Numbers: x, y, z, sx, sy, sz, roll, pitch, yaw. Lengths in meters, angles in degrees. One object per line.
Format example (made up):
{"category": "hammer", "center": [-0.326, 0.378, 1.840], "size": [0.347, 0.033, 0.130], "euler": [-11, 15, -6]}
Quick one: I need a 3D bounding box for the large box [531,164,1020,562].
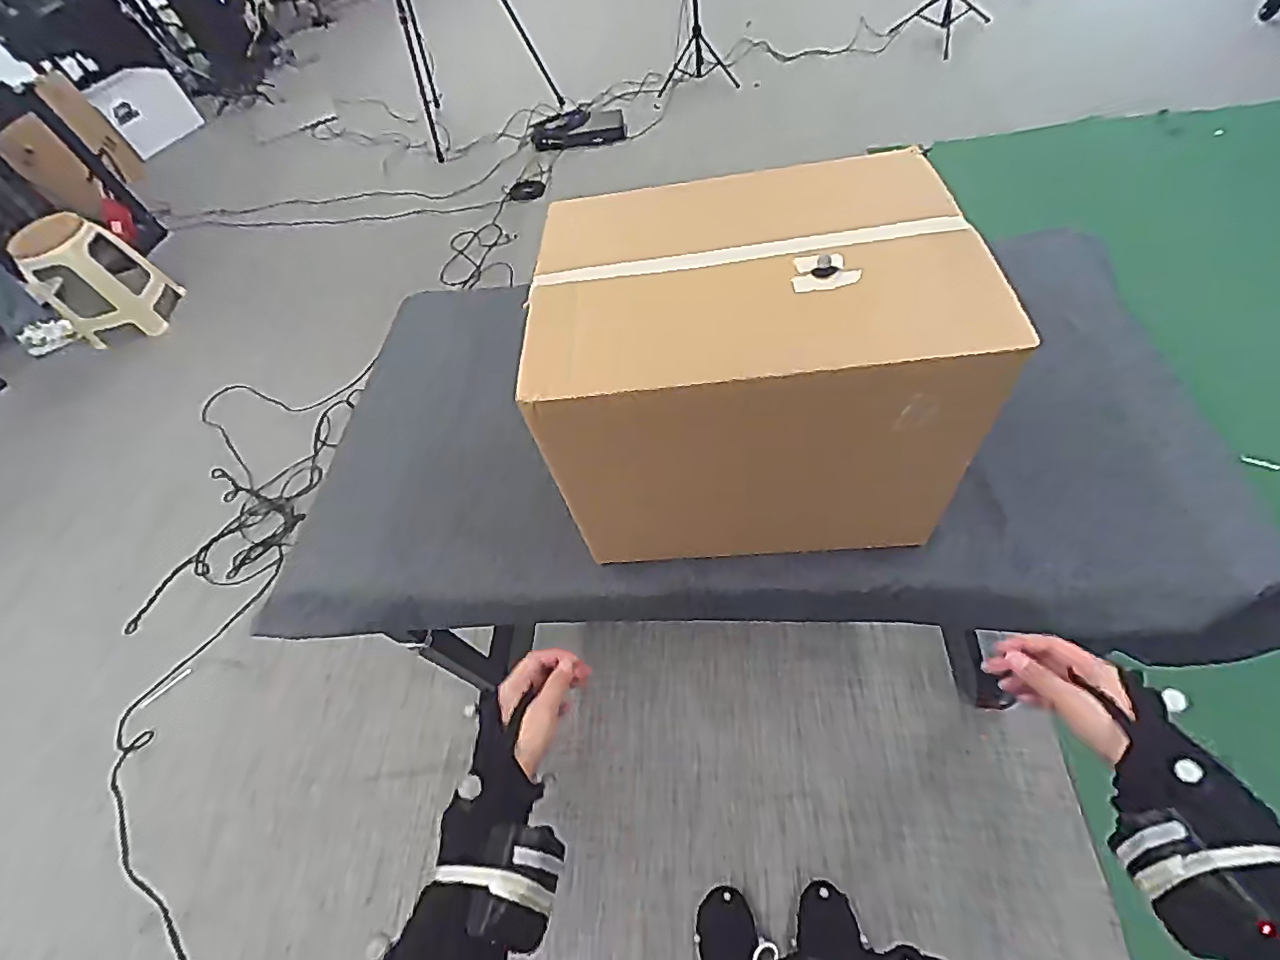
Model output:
{"category": "large box", "center": [0.119, -0.118, 0.644], "size": [0.408, 0.320, 0.320], "euler": [-5, 55, 7]}
